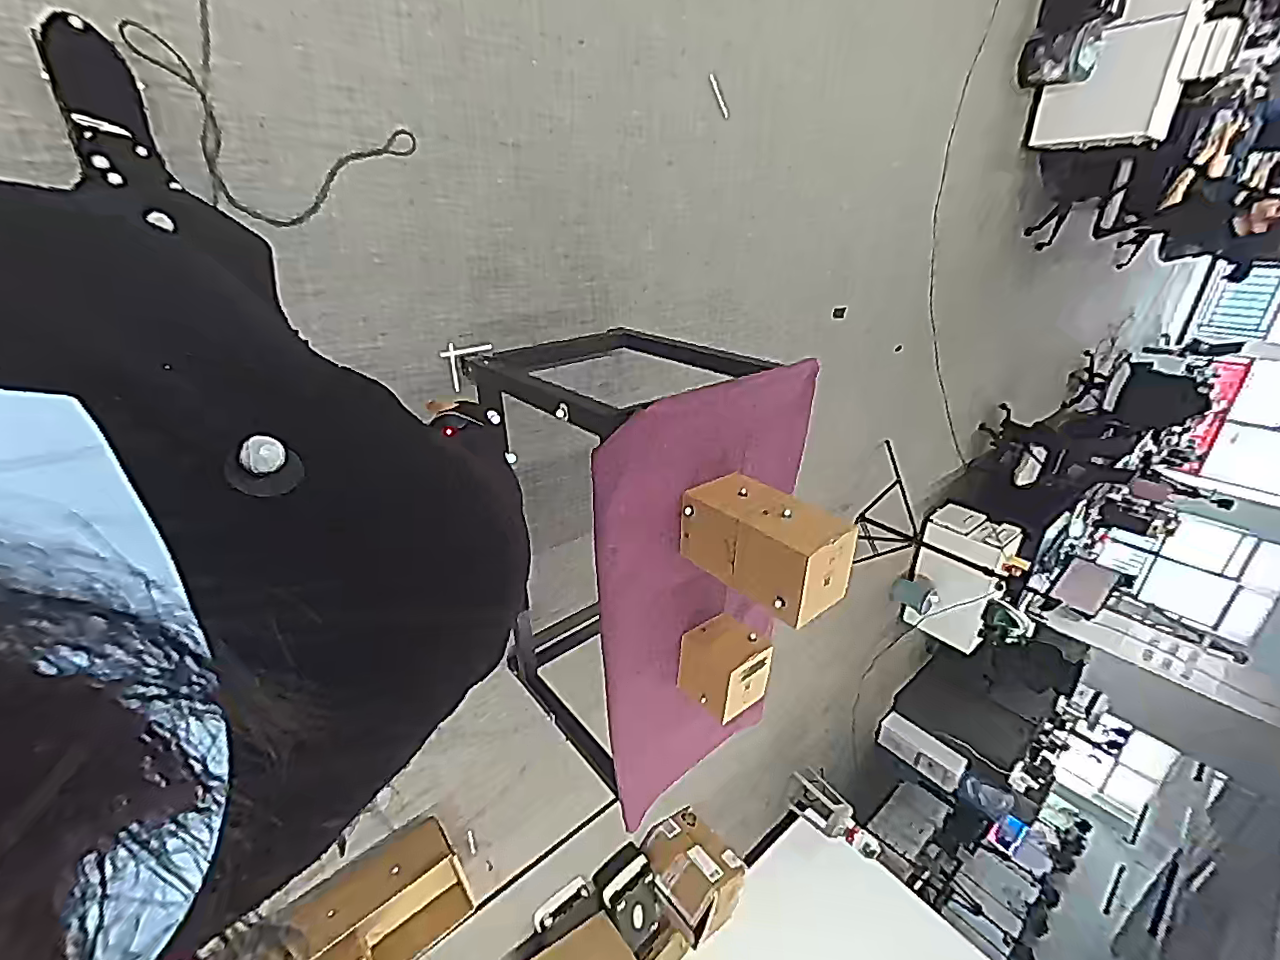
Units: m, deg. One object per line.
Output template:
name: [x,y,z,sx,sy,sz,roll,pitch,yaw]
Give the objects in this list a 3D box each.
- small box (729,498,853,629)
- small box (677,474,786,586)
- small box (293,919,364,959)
small box: [0.299,0.161,1.100,0.168,0.176,0.179,-20,123,-35]
small box: [0.201,0.105,1.221,0.179,0.176,0.168,-19,123,-36]
small box: [-1.032,1.632,1.807,0.168,0.176,0.179,-24,125,-33]
